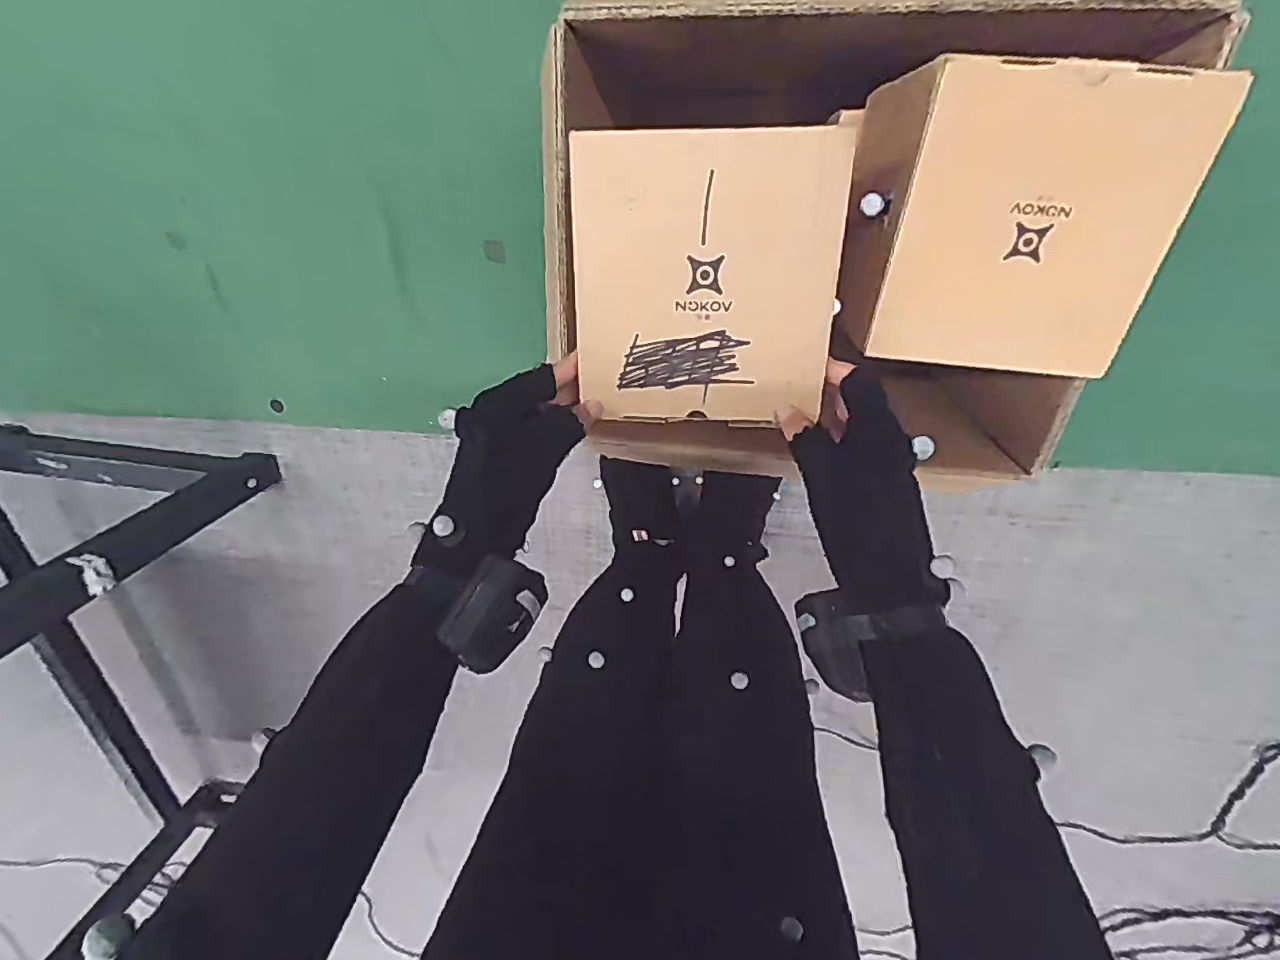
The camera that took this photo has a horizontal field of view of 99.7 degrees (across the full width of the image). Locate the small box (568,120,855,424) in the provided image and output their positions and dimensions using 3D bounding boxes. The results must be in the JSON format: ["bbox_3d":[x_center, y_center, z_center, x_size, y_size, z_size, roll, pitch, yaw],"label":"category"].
[{"bbox_3d":[0.046,-0.153,0.411,0.168,0.176,0.179,3,112,6],"label":"small box"}]
